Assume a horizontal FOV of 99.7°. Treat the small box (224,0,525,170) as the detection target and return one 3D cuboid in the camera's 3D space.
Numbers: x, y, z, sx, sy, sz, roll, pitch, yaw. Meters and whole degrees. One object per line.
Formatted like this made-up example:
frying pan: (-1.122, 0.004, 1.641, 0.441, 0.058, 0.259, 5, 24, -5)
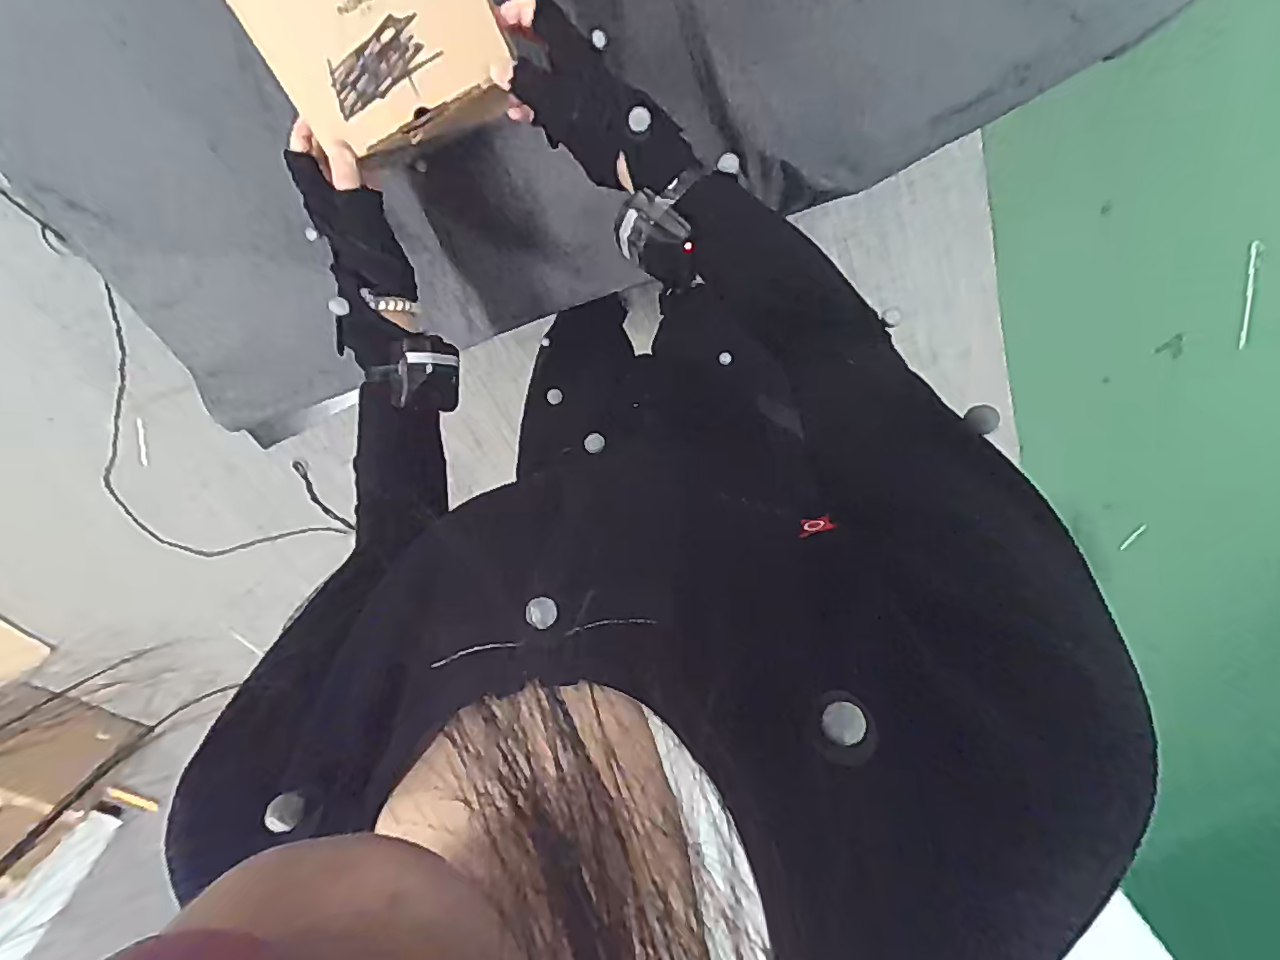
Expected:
small box: (-0.210, -0.384, 0.446, 0.168, 0.176, 0.179, -24, 118, 8)
